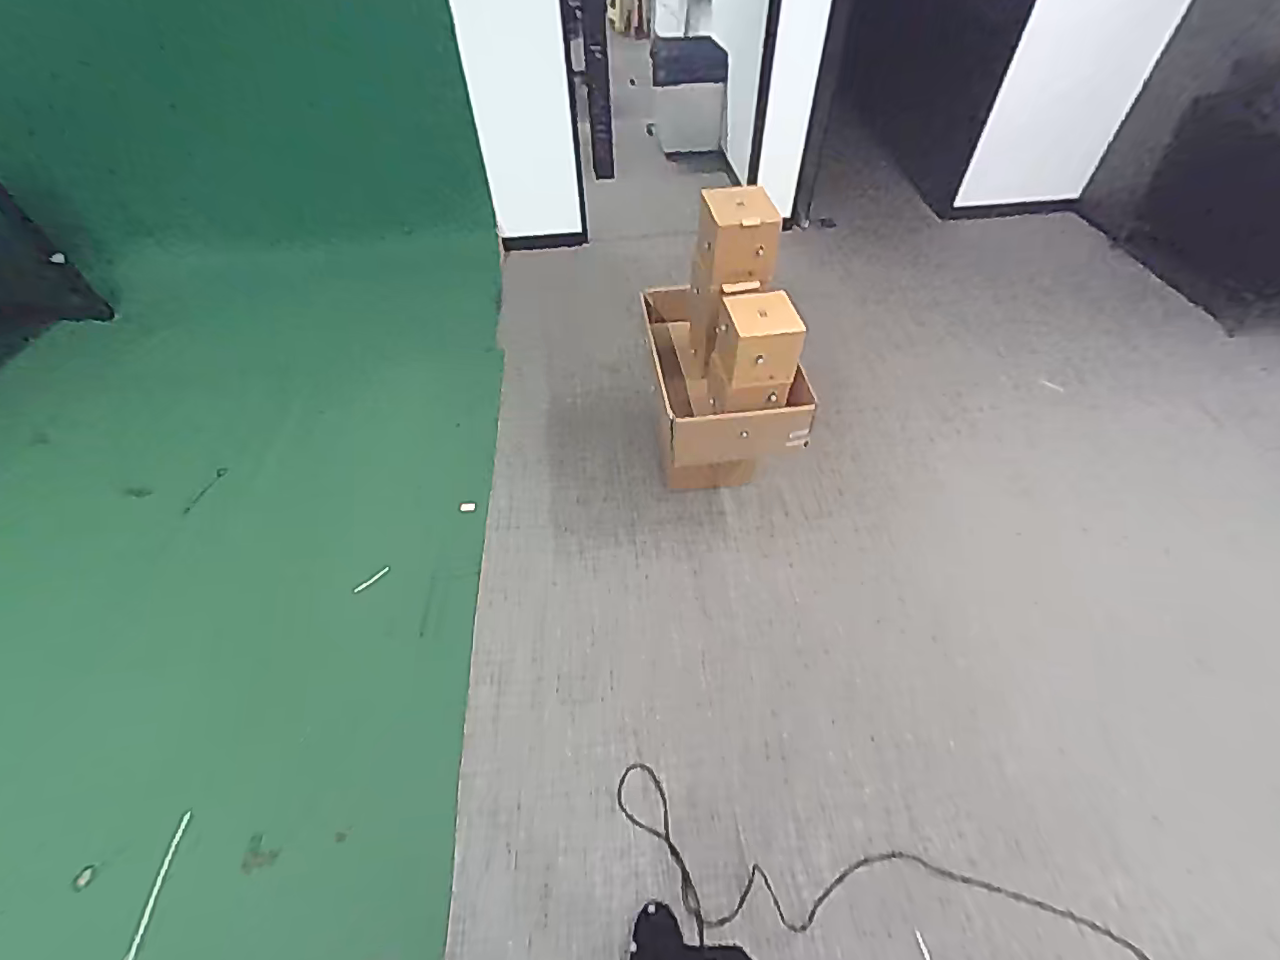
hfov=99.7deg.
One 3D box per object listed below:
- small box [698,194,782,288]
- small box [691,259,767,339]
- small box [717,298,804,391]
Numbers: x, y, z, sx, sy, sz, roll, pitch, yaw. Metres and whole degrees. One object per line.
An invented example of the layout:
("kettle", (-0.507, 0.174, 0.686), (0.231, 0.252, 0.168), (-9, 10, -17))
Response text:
("small box", (0.253, -0.618, 1.413), (0.168, 0.176, 0.179), (-7, 53, -6))
("small box", (0.247, -0.519, 1.542), (0.168, 0.176, 0.179), (-10, 53, -7))
("small box", (0.302, -0.342, 1.393), (0.168, 0.176, 0.179), (-7, 50, -5))
